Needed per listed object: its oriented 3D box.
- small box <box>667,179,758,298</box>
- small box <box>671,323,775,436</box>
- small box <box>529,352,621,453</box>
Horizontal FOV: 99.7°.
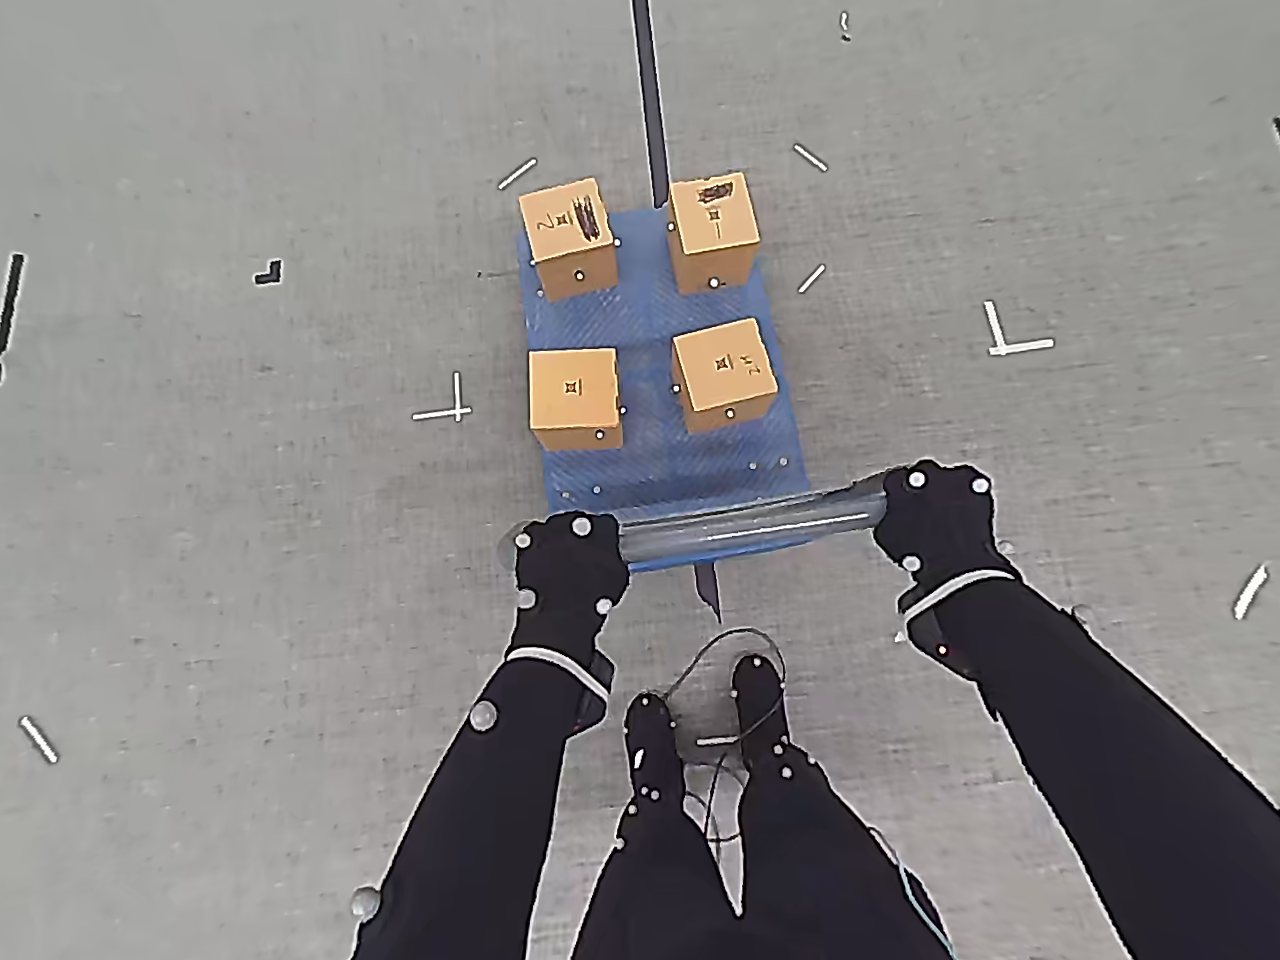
[{"bbox_3d":[0.157,-0.545,1.236,0.168,0.176,0.179,-10,79,-1],"label":"small box"},{"bbox_3d":[0.170,-0.208,1.163,0.179,0.176,0.168,-14,78,-2],"label":"small box"},{"bbox_3d":[-0.133,-0.159,1.159,0.179,0.176,0.168,-3,77,-1],"label":"small box"}]
